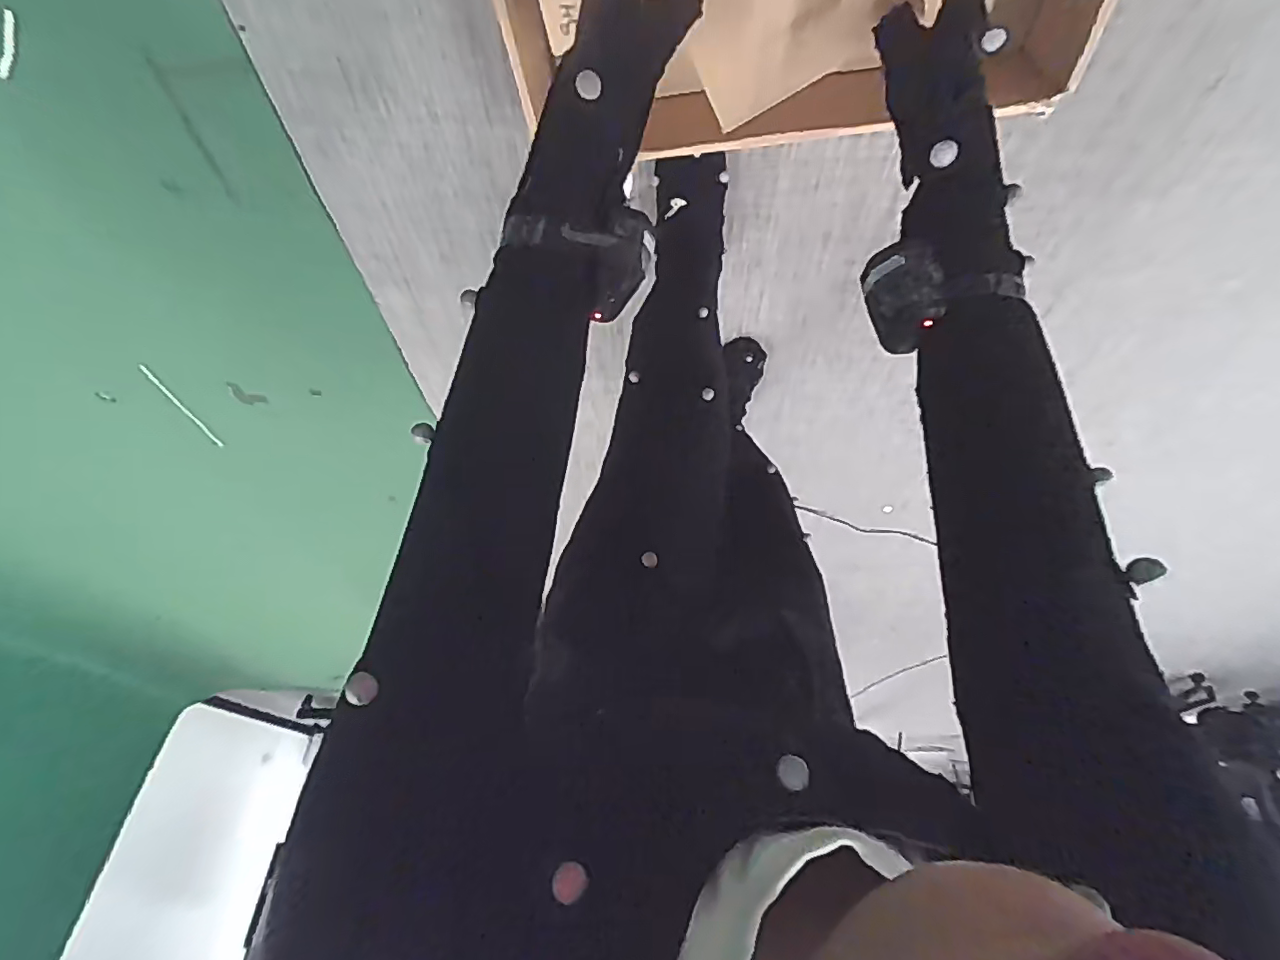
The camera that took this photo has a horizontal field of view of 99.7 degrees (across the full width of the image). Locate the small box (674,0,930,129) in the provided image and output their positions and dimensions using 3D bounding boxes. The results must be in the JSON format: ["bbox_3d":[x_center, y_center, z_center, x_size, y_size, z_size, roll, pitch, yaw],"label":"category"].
[{"bbox_3d":[0.106,-0.435,0.422,0.168,0.176,0.179,-17,143,27],"label":"small box"}]

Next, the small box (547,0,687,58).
[{"bbox_3d":[-0.012,-0.561,0.533,0.179,0.176,0.168,-6,145,9],"label":"small box"}]
